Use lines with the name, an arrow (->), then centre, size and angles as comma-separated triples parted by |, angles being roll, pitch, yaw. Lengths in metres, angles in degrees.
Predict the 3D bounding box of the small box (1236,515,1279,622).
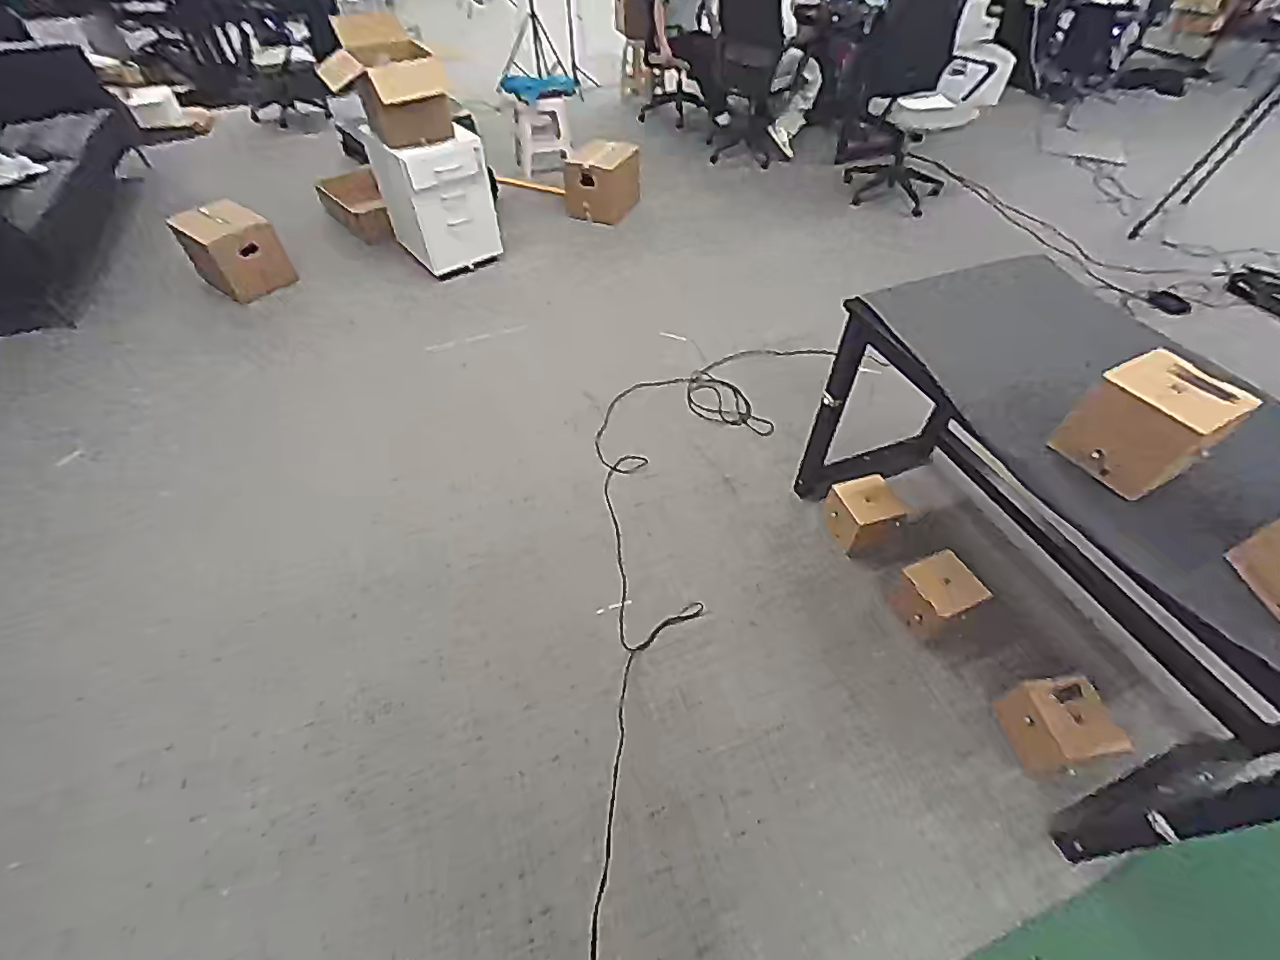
small box -> 1.015, 0.127, 0.755 | 0.179, 0.176, 0.168 | 2, 49, -2

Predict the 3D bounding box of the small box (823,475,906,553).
small box -> 0.709, 0.112, 1.738 | 0.179, 0.176, 0.168 | -13, 50, -11

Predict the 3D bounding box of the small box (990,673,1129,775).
small box -> 1.005, 0.596, 1.317 | 0.168, 0.176, 0.179 | -6, 51, -5

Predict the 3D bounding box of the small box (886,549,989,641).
small box -> 0.834, 0.332, 1.545 | 0.179, 0.176, 0.168 | -18, 52, -16
